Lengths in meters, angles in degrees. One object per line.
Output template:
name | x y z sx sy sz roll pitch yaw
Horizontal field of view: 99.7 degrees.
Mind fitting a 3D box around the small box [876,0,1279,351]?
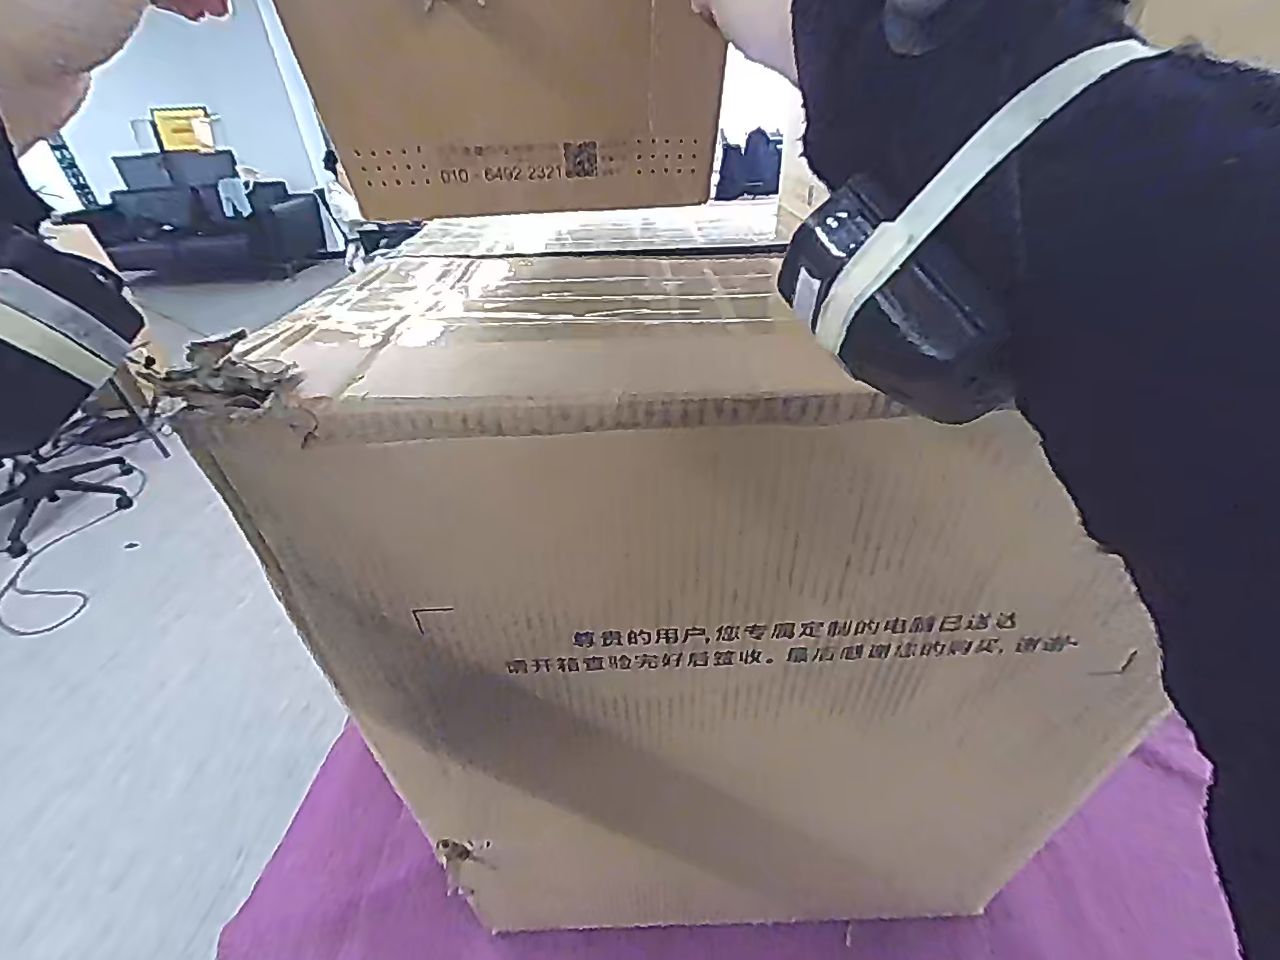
small box | 0.219 -0.163 0.229 0.179 0.176 0.168 -4 36 0

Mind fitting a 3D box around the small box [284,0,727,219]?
small box | -0.055 -0.237 0.246 0.168 0.176 0.179 -6 54 -5
